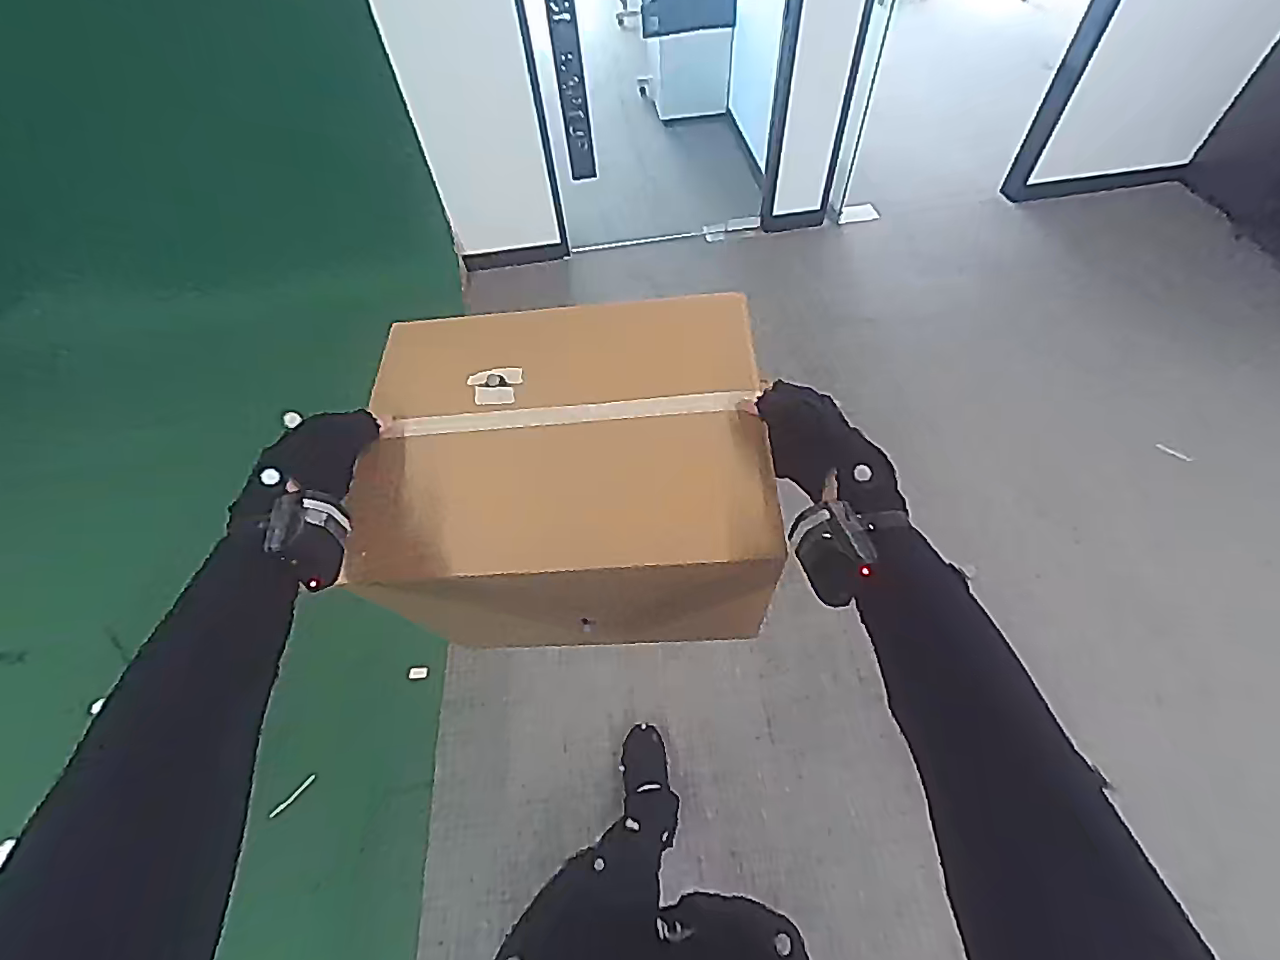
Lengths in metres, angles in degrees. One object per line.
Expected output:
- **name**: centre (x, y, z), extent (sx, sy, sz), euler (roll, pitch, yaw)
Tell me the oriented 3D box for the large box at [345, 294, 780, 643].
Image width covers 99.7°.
- **large box**: centre (-0.063, 0.011, 0.680), extent (0.408, 0.320, 0.320), euler (-4, 60, 5)
